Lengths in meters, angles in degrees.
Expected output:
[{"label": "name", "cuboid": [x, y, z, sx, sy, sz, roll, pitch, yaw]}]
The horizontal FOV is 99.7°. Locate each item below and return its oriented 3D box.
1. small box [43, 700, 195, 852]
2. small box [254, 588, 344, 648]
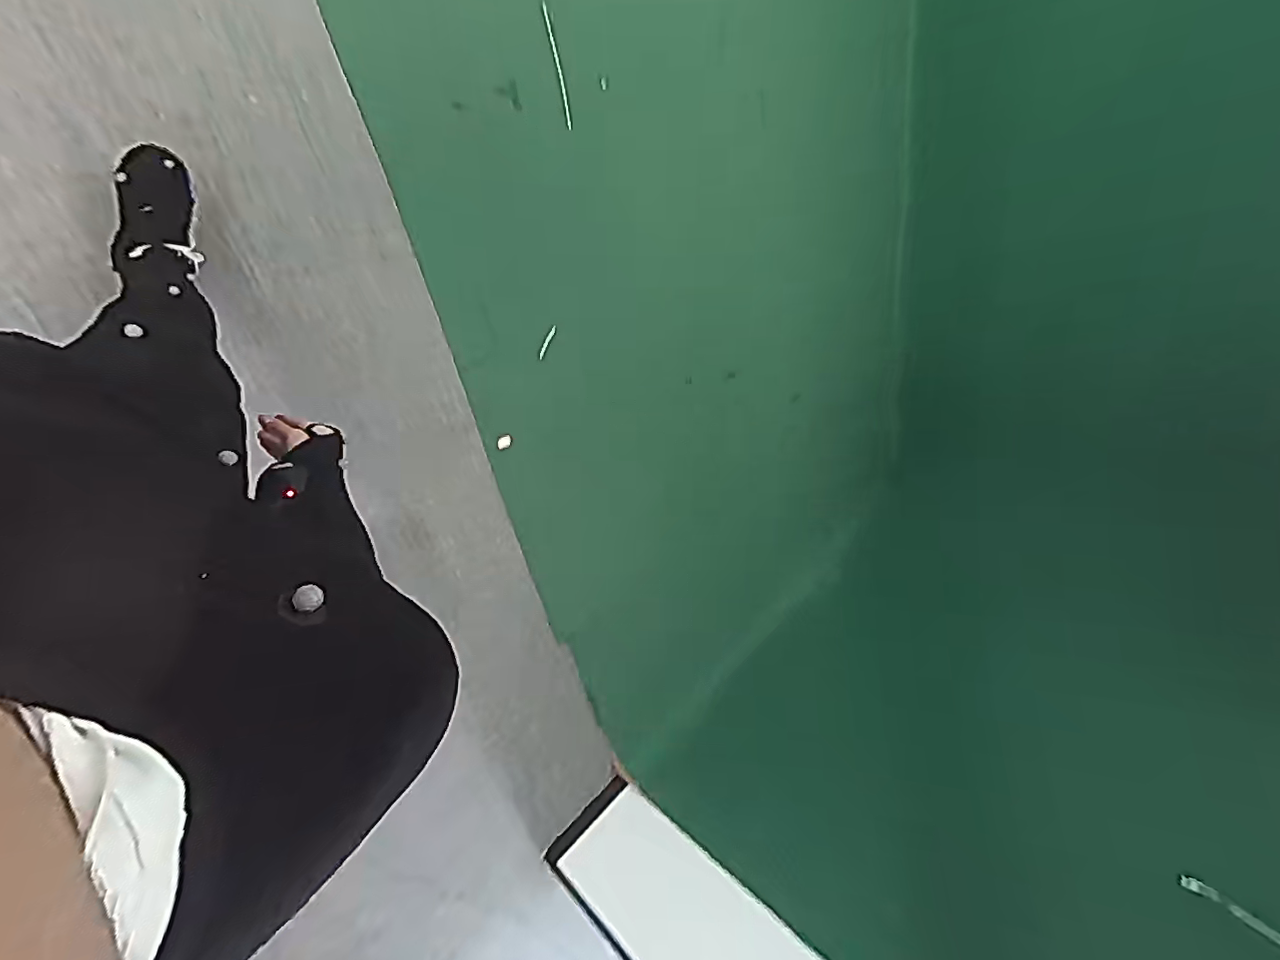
[{"label": "small box", "cuboid": [-1.066, 0.599, 1.117, 0.179, 0.176, 0.168, -28, 121, -37]}, {"label": "small box", "cuboid": [-0.798, 0.385, 1.314, 0.168, 0.176, 0.179, -35, 126, -32]}]
